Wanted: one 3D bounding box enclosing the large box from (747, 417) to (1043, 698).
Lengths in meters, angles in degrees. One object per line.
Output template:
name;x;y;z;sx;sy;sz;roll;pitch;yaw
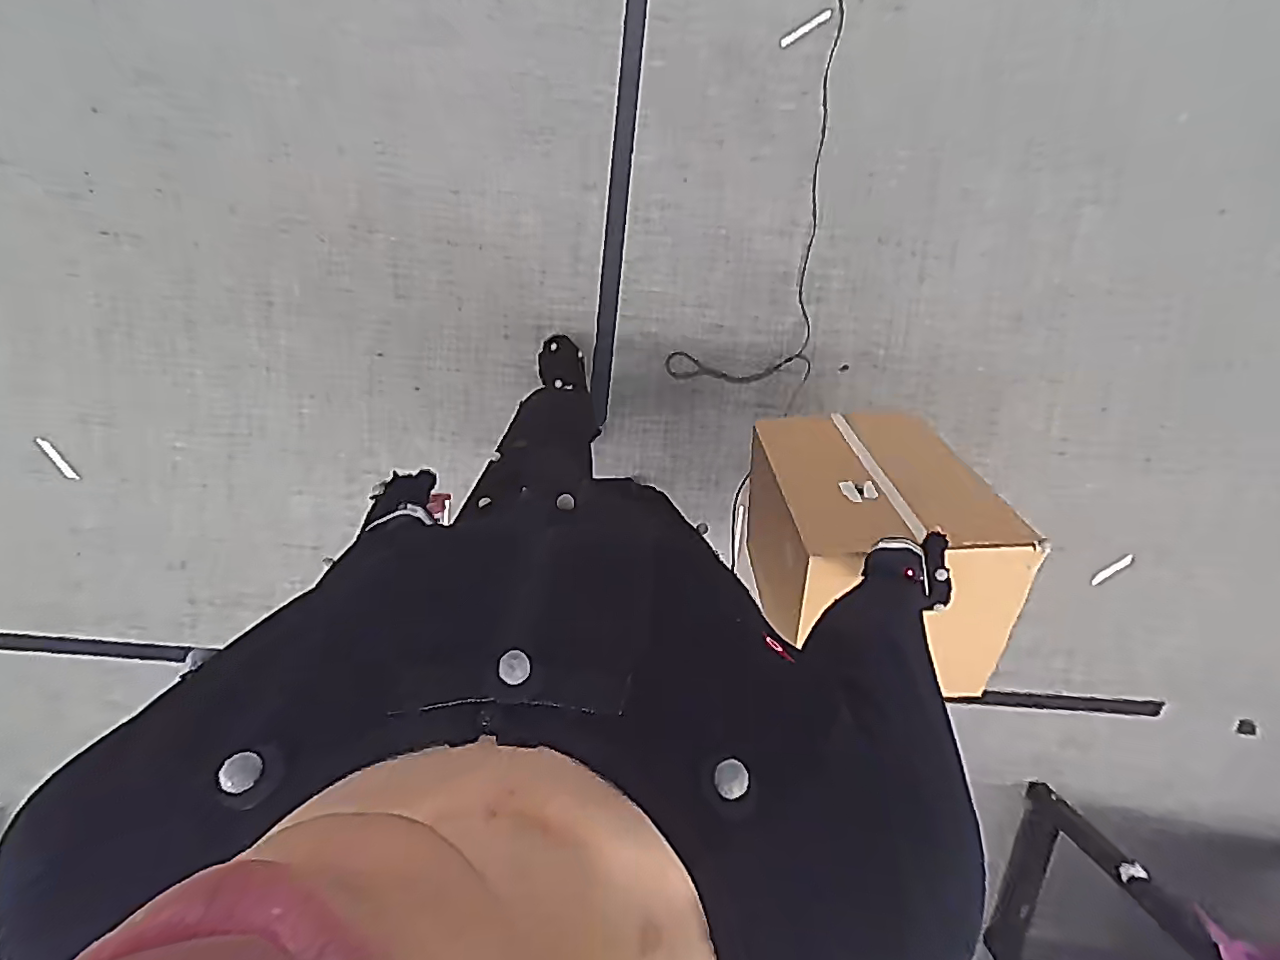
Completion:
large box;0.390;0.118;0.969;0.320;0.408;0.320;-4;123;1
